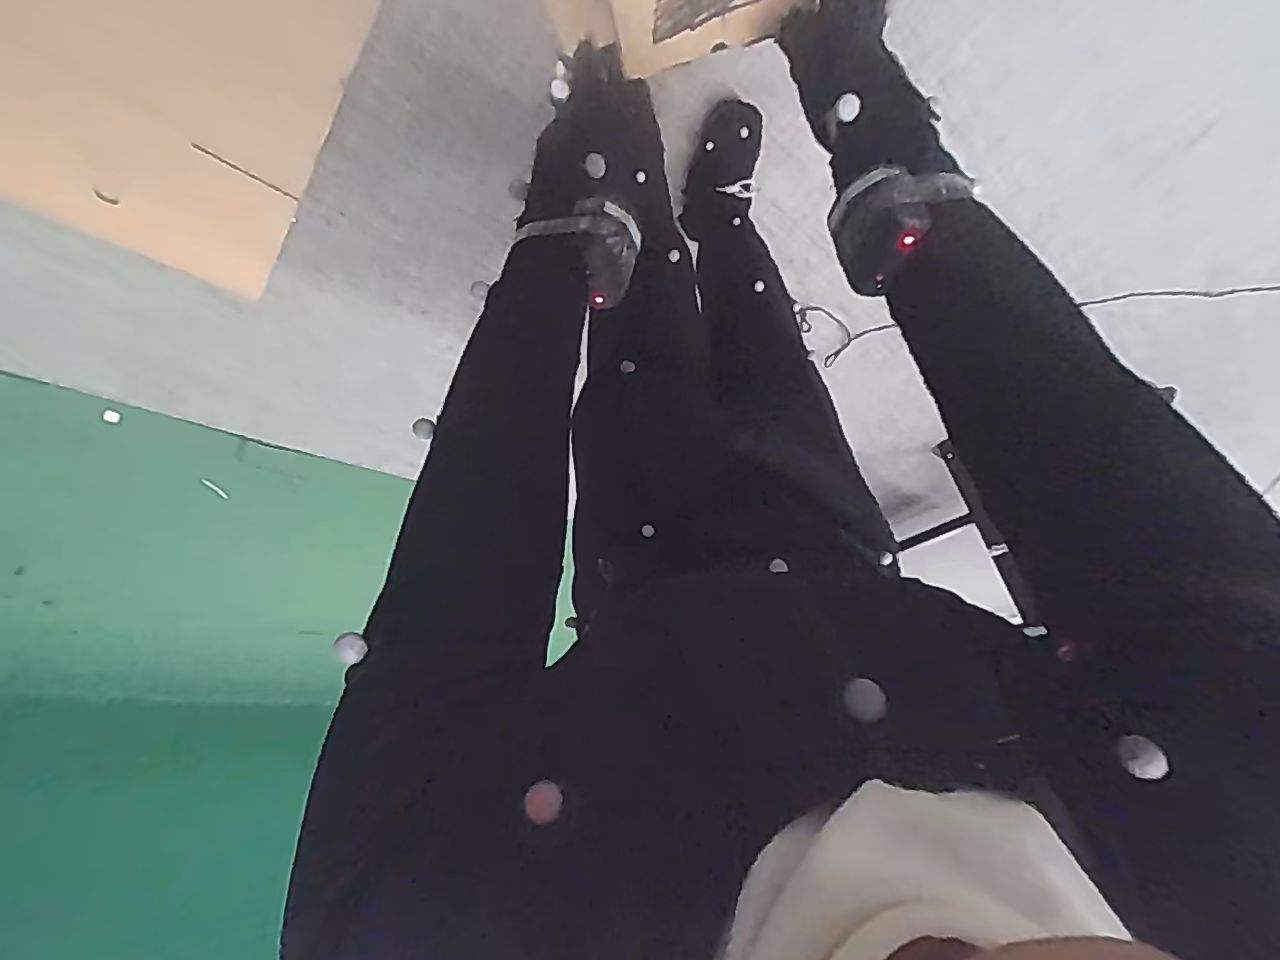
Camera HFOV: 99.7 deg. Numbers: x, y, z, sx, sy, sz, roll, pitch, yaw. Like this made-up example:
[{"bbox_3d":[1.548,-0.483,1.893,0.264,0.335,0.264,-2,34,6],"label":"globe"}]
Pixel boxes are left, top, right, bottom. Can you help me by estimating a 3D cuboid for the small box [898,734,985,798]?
[{"bbox_3d":[1.027,0.972,1.852,0.168,0.176,0.179,14,142,-35],"label":"small box"}]
